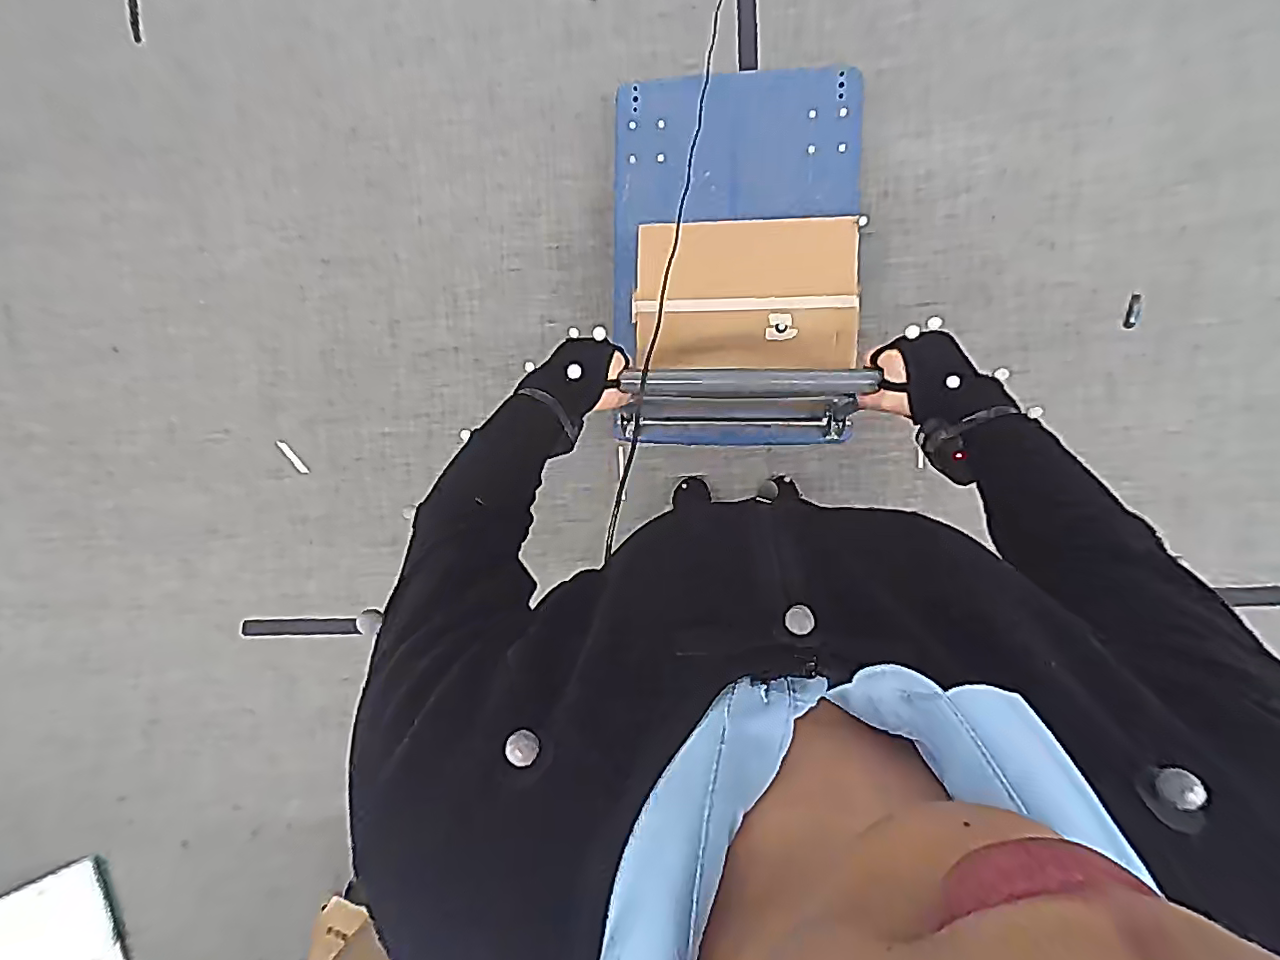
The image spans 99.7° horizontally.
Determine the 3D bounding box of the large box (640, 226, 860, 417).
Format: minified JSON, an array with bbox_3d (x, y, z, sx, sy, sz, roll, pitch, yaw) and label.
[{"bbox_3d":[0.213,-0.306,1.142,0.408,0.320,0.320,1,92,6],"label":"large box"}]
